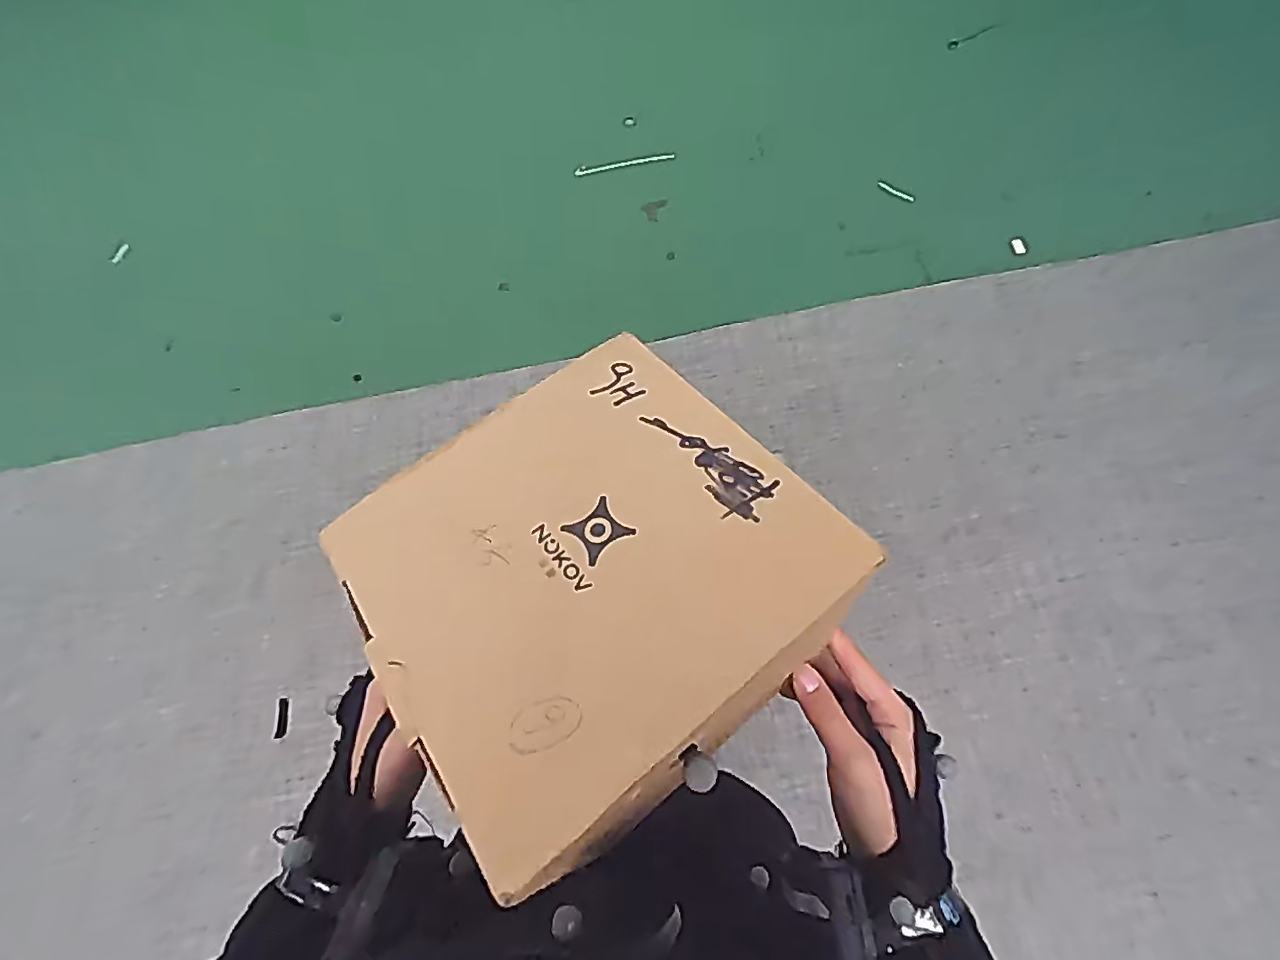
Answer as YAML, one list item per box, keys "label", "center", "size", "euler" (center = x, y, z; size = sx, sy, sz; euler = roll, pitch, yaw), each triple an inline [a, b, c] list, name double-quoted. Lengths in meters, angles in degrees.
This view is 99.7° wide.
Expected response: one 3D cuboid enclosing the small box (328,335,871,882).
- label: "small box"
  center: [-0.014, 0.066, 0.290]
  size: [0.179, 0.176, 0.168]
  euler: [-37, 61, -13]
